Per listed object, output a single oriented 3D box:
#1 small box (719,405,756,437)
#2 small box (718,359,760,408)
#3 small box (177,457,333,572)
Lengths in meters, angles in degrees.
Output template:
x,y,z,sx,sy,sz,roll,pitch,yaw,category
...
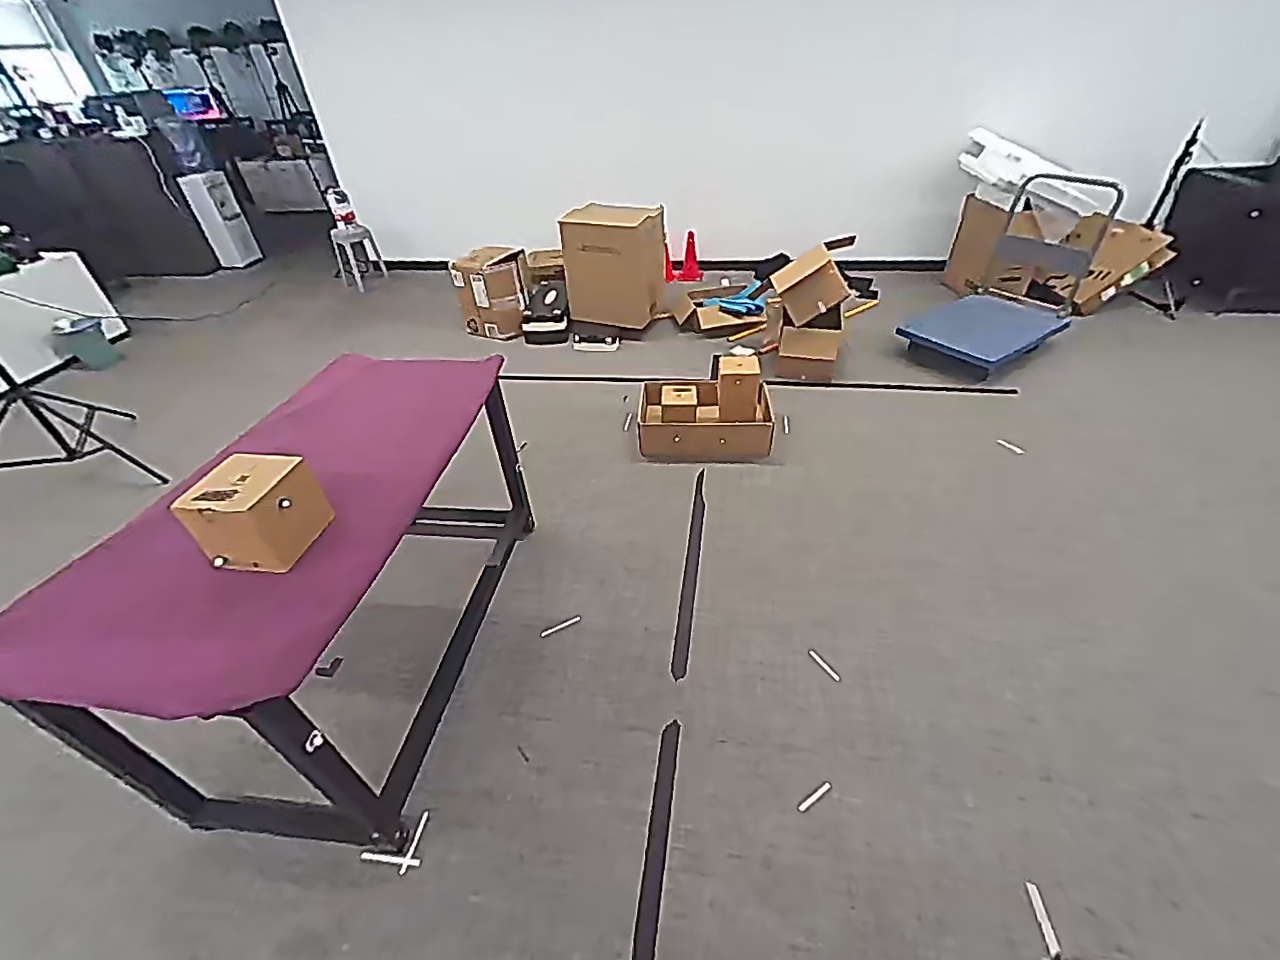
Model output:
x,y,z,sx,sy,sz,roll,pitch,yaw,category
0.465,-0.316,2.590,0.168,0.176,0.179,1,38,6,small box
0.453,-0.441,2.488,0.179,0.176,0.168,0,39,6,small box
-0.780,0.072,1.122,0.168,0.176,0.179,3,38,8,small box
